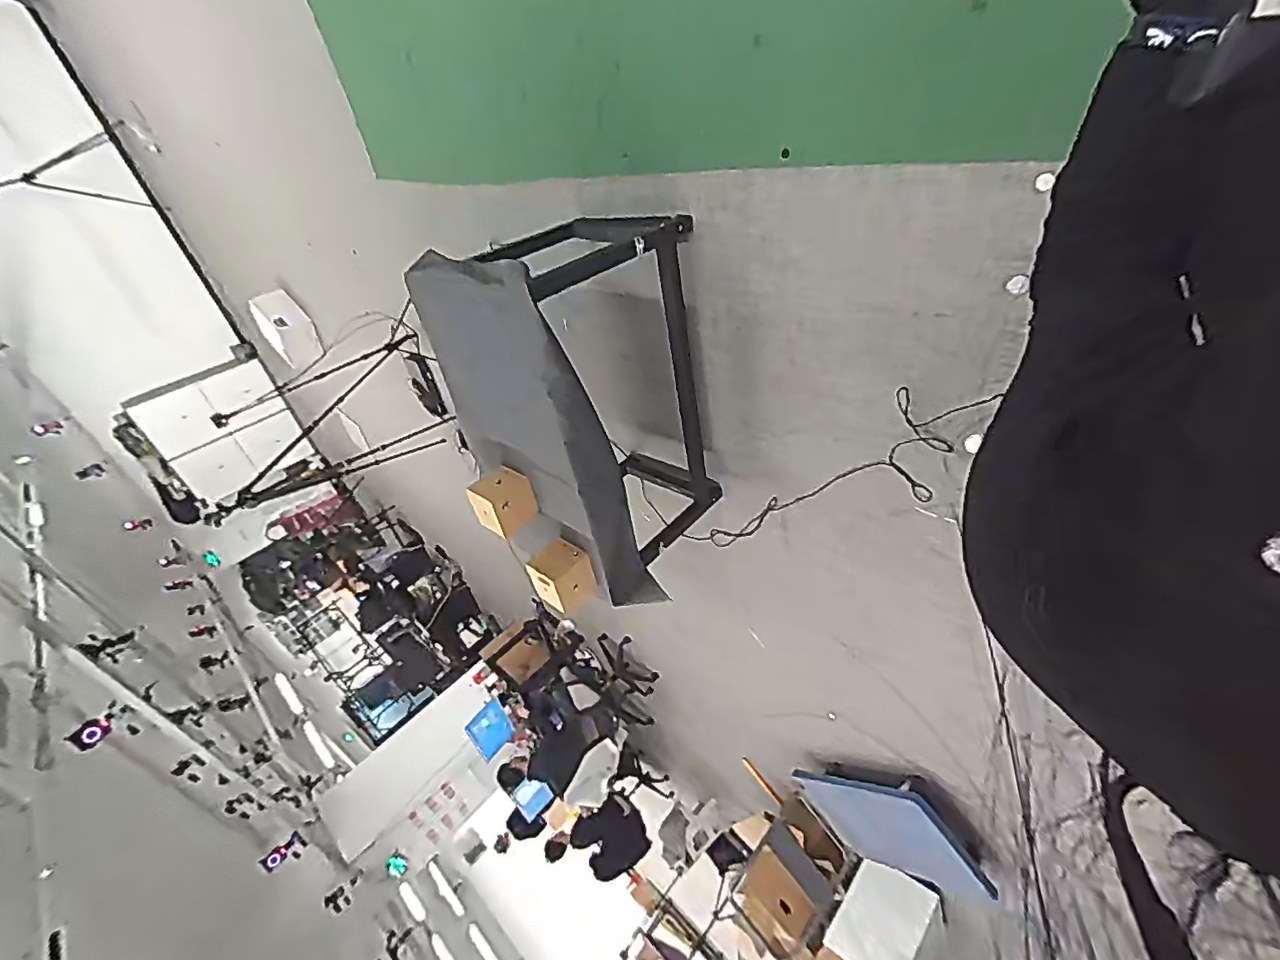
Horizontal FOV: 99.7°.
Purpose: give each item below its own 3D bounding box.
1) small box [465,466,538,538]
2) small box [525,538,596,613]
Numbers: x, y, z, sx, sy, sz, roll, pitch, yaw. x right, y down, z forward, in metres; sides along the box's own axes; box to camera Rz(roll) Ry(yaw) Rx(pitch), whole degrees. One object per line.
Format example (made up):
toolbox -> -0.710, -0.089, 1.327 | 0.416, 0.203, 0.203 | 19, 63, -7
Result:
small box -> -0.501, 0.073, 1.978 | 0.168, 0.176, 0.179 | 23, 138, 36
small box -> -0.286, 0.343, 1.979 | 0.168, 0.176, 0.179 | 23, 138, 39
